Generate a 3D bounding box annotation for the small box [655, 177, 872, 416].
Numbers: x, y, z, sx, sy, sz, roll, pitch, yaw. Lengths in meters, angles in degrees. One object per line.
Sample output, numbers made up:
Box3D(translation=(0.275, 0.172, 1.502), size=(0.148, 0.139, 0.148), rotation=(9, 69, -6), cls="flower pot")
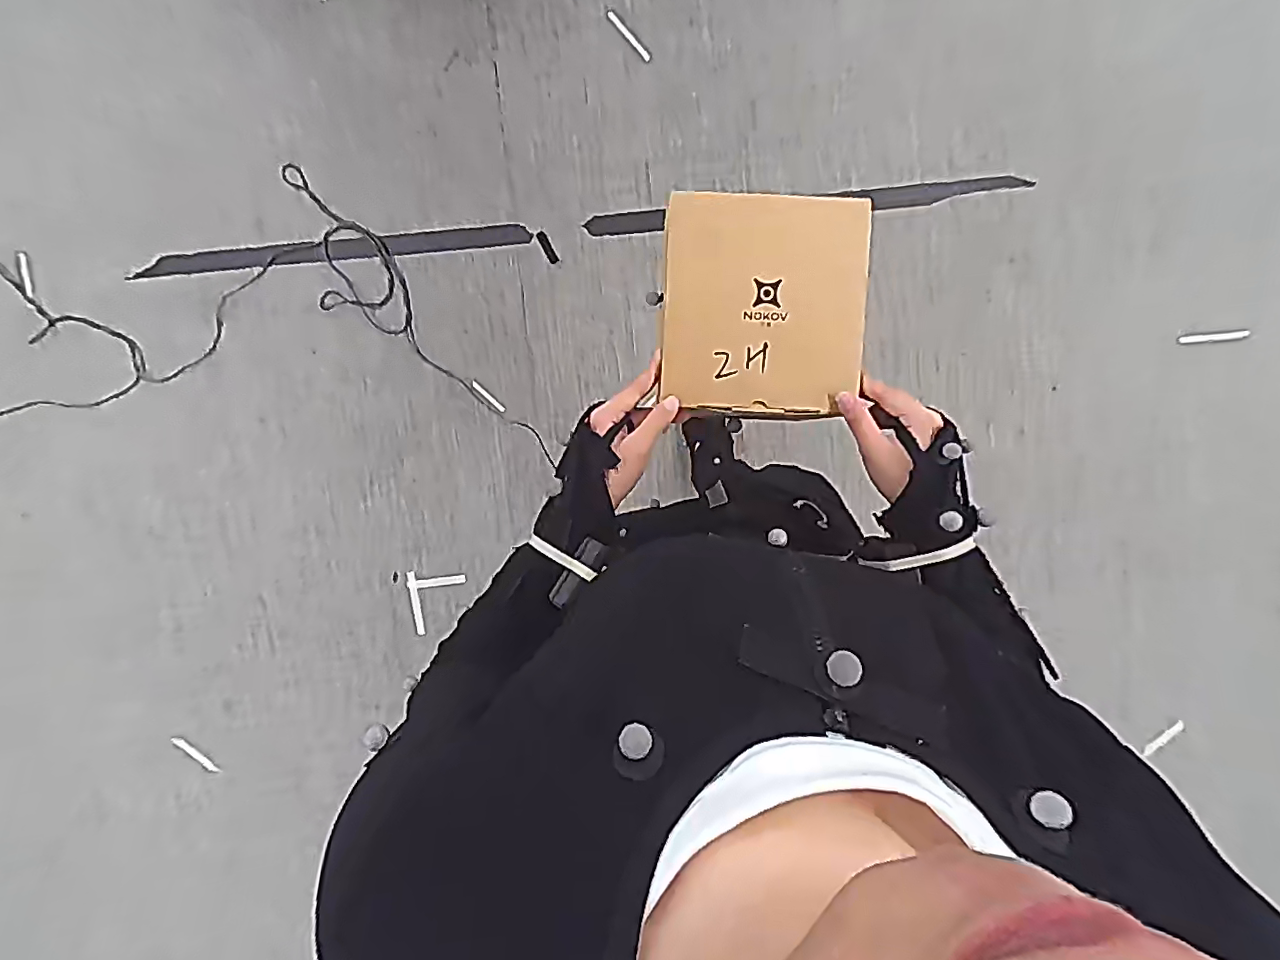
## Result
Box3D(translation=(0.102, -0.158, 0.519), size=(0.168, 0.176, 0.179), rotation=(3, 94, 0), cls="small box")
